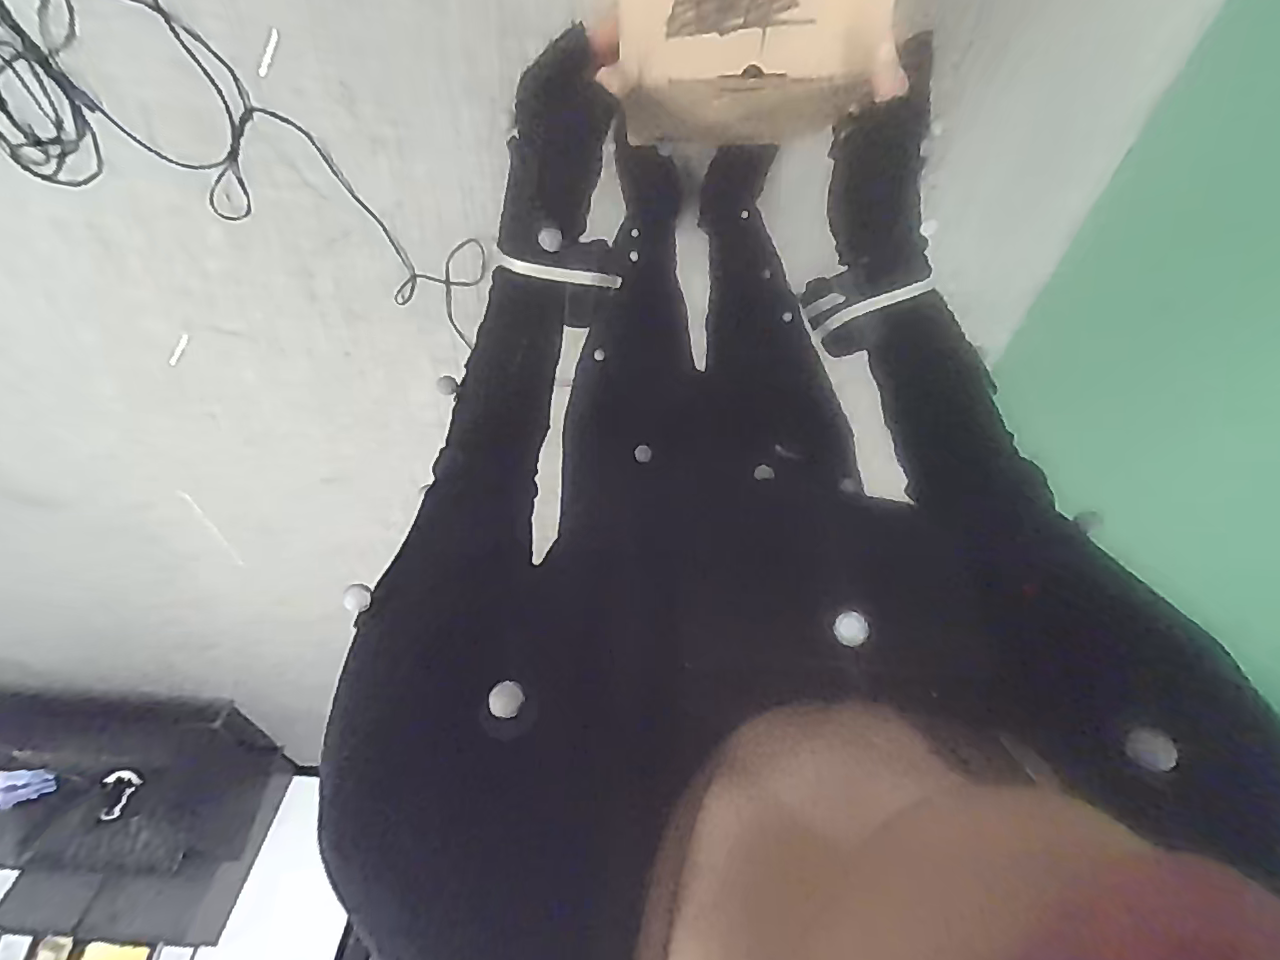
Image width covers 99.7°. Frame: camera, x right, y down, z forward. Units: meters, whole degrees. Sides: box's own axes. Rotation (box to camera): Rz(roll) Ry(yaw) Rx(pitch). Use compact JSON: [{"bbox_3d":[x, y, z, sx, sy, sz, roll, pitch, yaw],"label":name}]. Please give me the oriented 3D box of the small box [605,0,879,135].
[{"bbox_3d":[0.065,-0.361,0.381,0.168,0.176,0.179,0,109,2],"label":"small box"}]
